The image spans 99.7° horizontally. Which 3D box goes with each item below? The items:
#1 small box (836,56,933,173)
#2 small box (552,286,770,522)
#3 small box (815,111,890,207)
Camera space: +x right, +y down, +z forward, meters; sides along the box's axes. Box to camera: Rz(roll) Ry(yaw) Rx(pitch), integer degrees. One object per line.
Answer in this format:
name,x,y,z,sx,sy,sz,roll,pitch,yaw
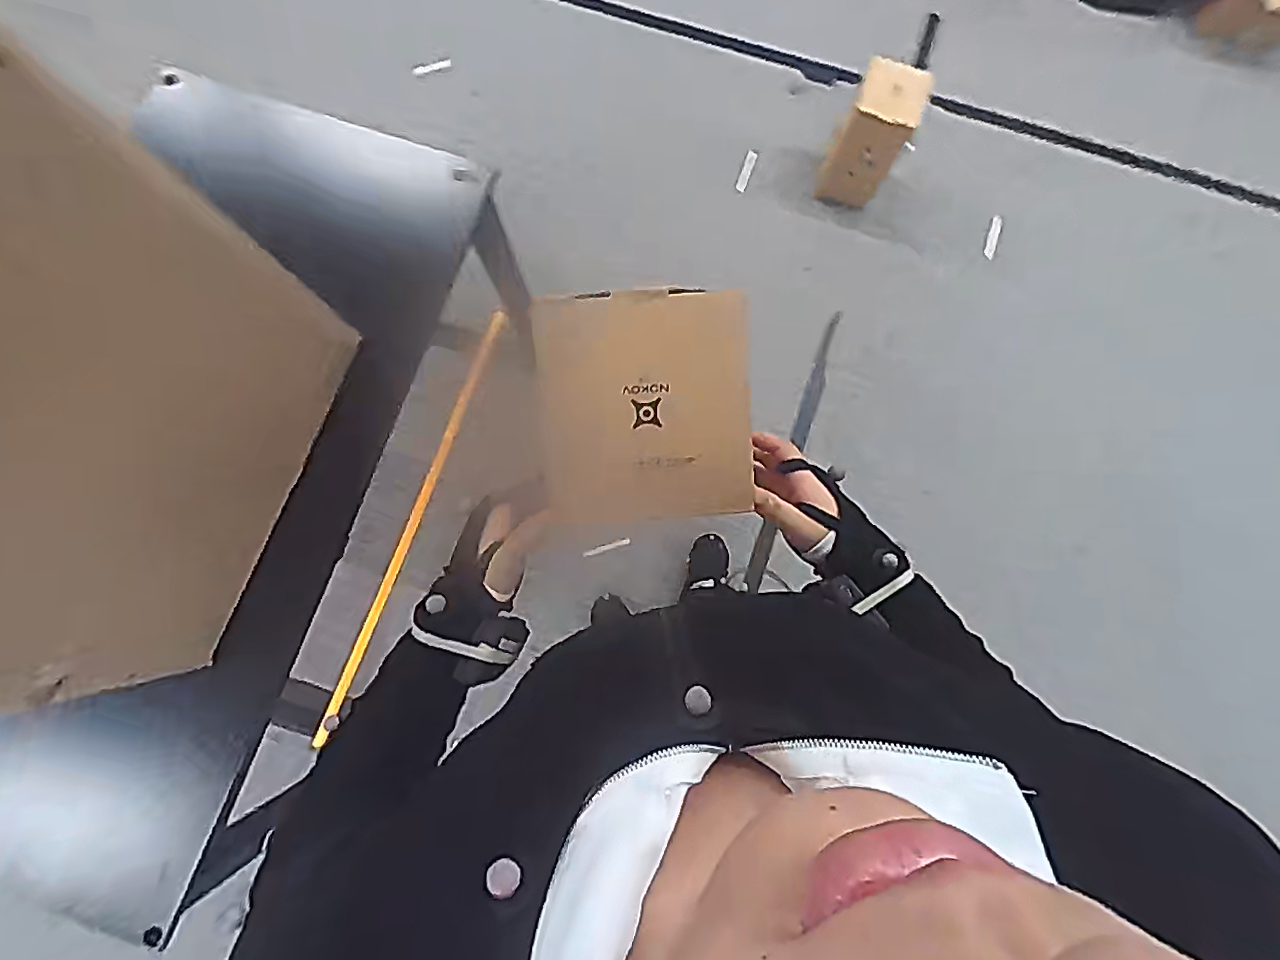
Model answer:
small box,0.657,-0.988,1.472,0.168,0.176,0.179,19,81,2
small box,0.013,-0.065,0.487,0.168,0.176,0.179,-2,98,-2
small box,0.649,-0.962,1.635,0.179,0.176,0.168,16,81,1
